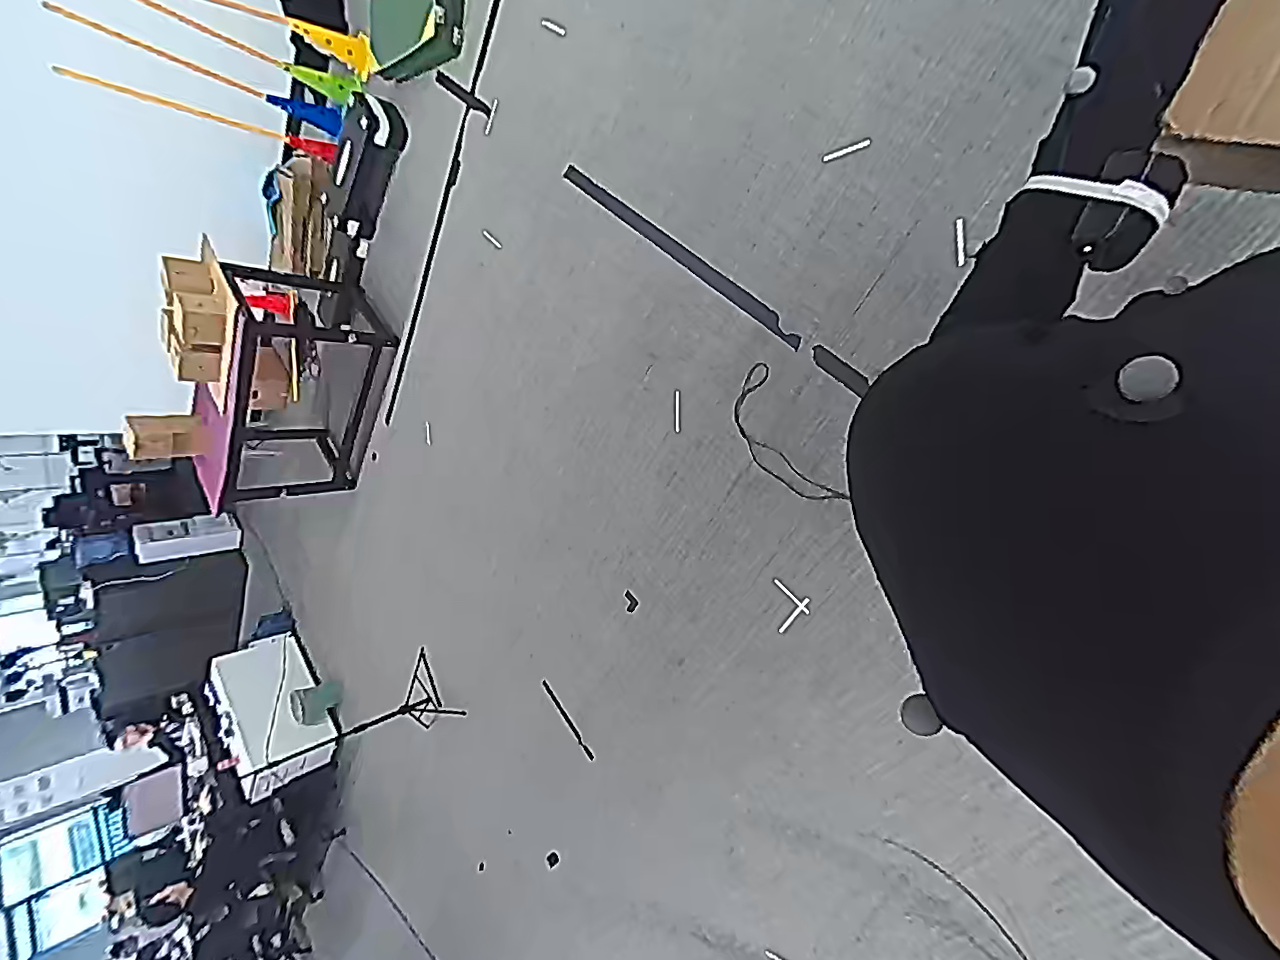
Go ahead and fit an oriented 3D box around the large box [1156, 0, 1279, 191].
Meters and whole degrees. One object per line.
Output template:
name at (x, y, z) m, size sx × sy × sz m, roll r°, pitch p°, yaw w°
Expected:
large box at (0.633, -0.340, 0.314) m, size 0.408 × 0.320 × 0.320 m, roll 31°, pitch 127°, yaw 33°
